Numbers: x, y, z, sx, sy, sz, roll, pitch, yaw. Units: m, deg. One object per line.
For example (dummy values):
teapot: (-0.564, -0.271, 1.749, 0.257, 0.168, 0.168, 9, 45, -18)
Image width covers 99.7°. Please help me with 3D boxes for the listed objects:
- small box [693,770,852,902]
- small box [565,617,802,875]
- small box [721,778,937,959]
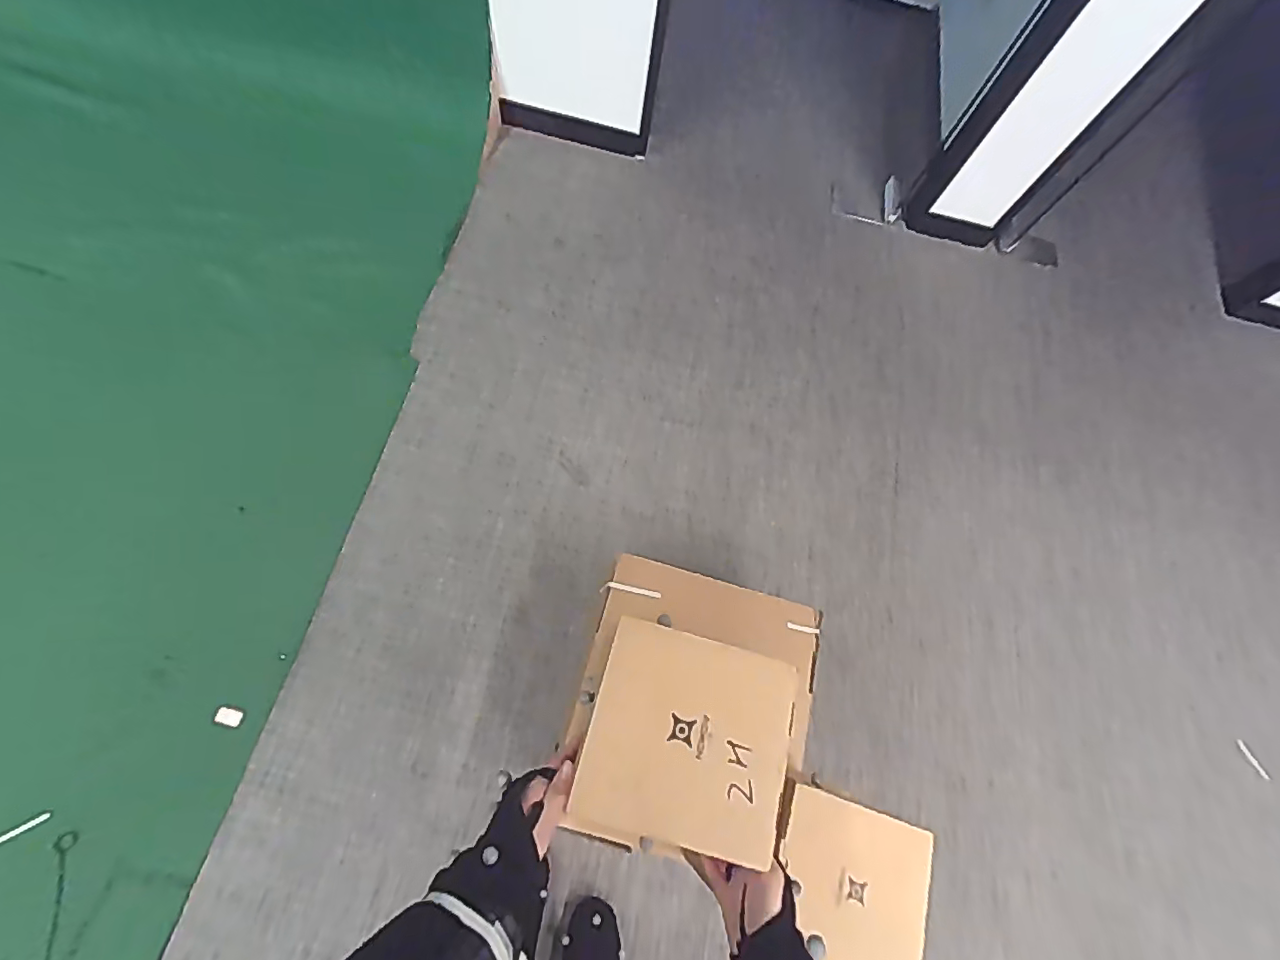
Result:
small box: (0.188, 0.524, 0.807, 0.168, 0.176, 0.179, 20, 66, -1)
small box: (0.036, 0.251, 0.536, 0.179, 0.176, 0.168, 17, 67, 1)
small box: (0.219, 0.474, 0.655, 0.179, 0.176, 0.168, 20, 67, 0)
